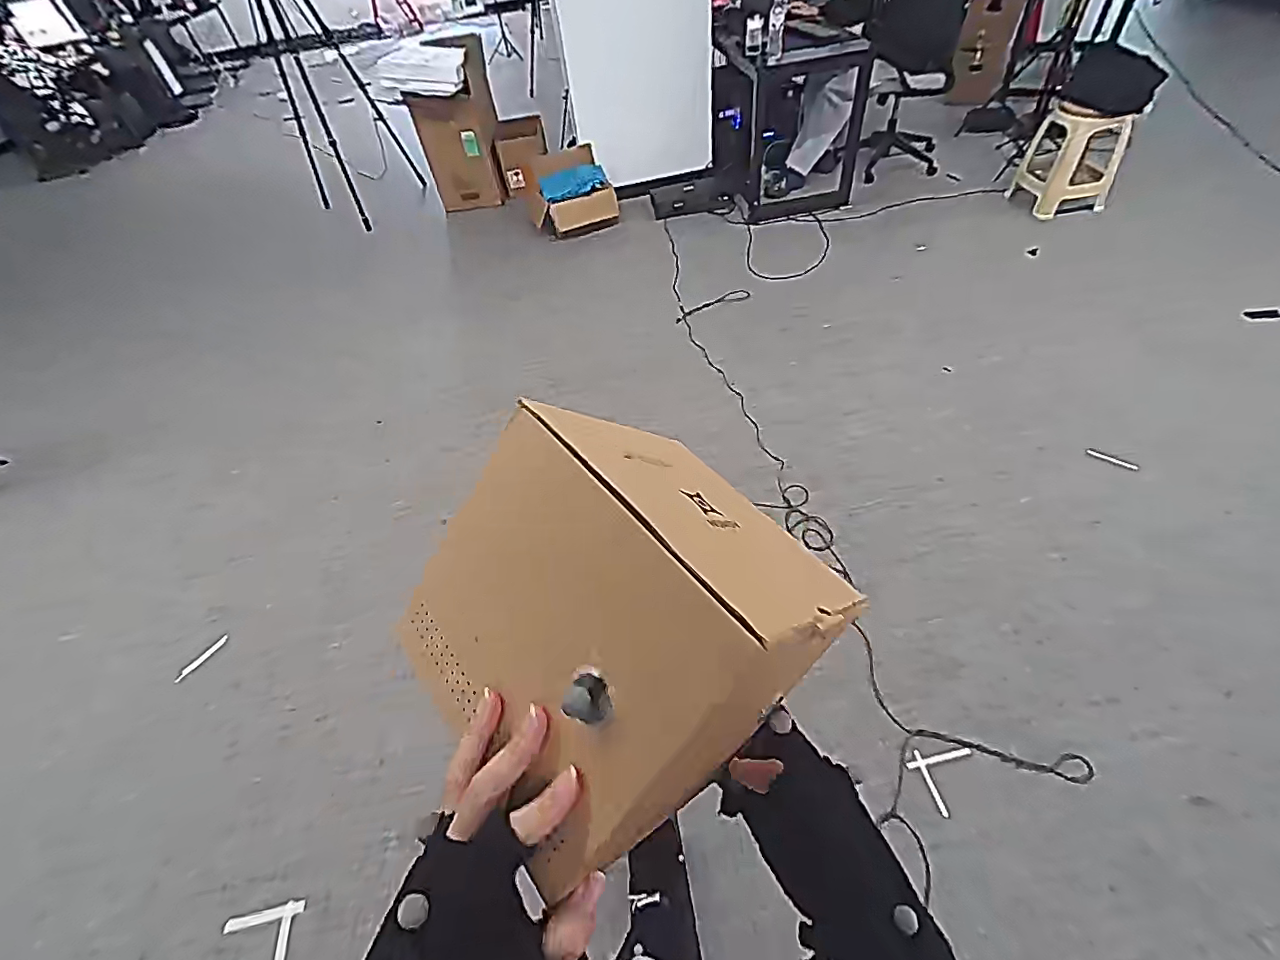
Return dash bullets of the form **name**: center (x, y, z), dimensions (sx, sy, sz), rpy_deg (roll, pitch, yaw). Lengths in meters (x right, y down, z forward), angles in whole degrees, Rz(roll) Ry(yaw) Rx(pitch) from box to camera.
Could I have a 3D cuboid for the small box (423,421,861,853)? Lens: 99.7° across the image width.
- **small box**: center (-0.002, 0.090, 0.342), dimensions (0.179, 0.168, 0.176), rpy_deg (44, 110, 30)
